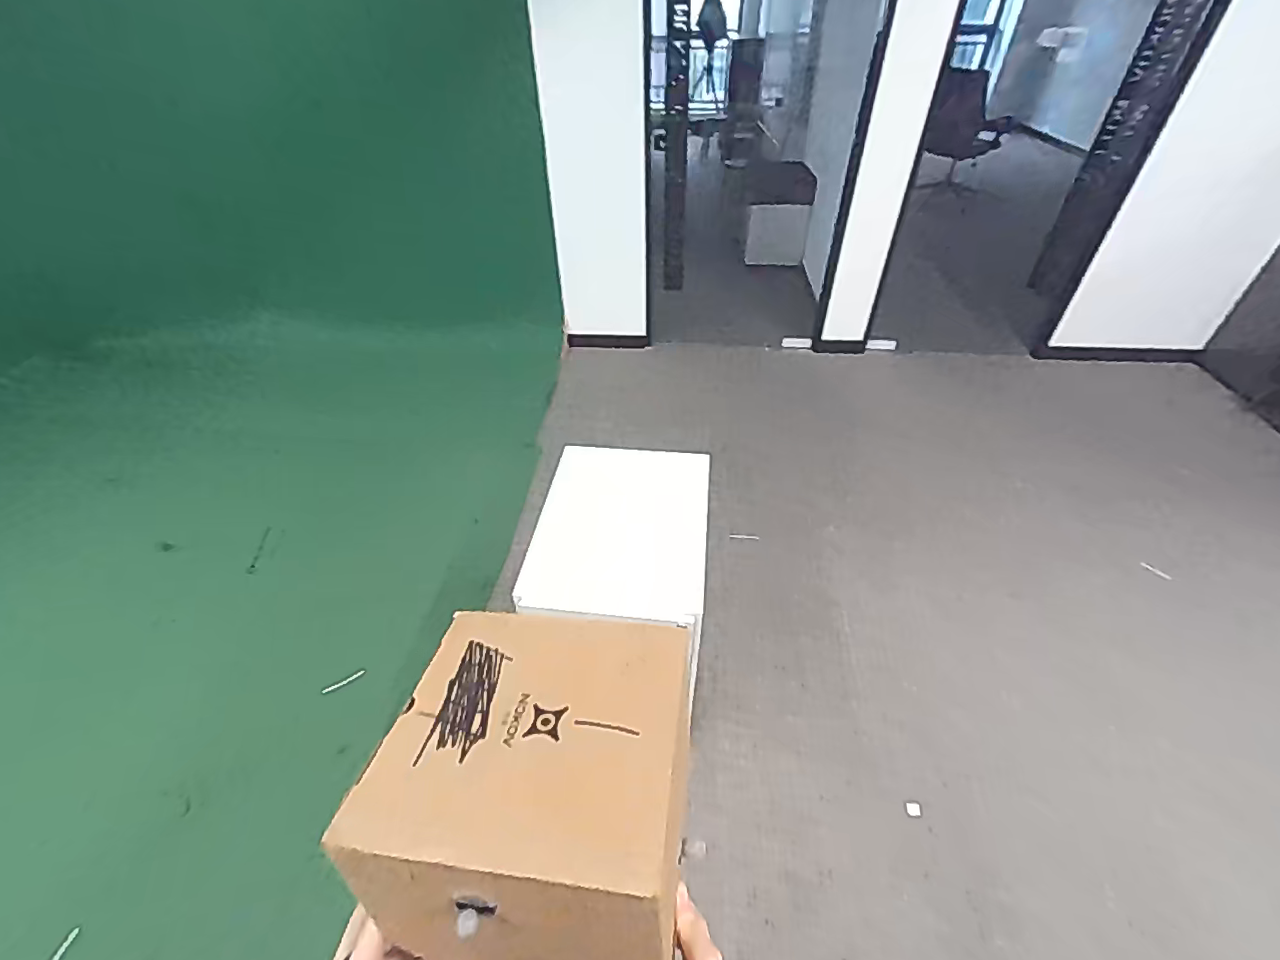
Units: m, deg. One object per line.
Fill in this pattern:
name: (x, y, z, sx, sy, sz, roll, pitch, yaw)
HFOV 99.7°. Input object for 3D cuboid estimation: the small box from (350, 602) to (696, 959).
small box: (-0.055, 0.210, 0.380, 0.179, 0.176, 0.168, 3, 32, 9)
